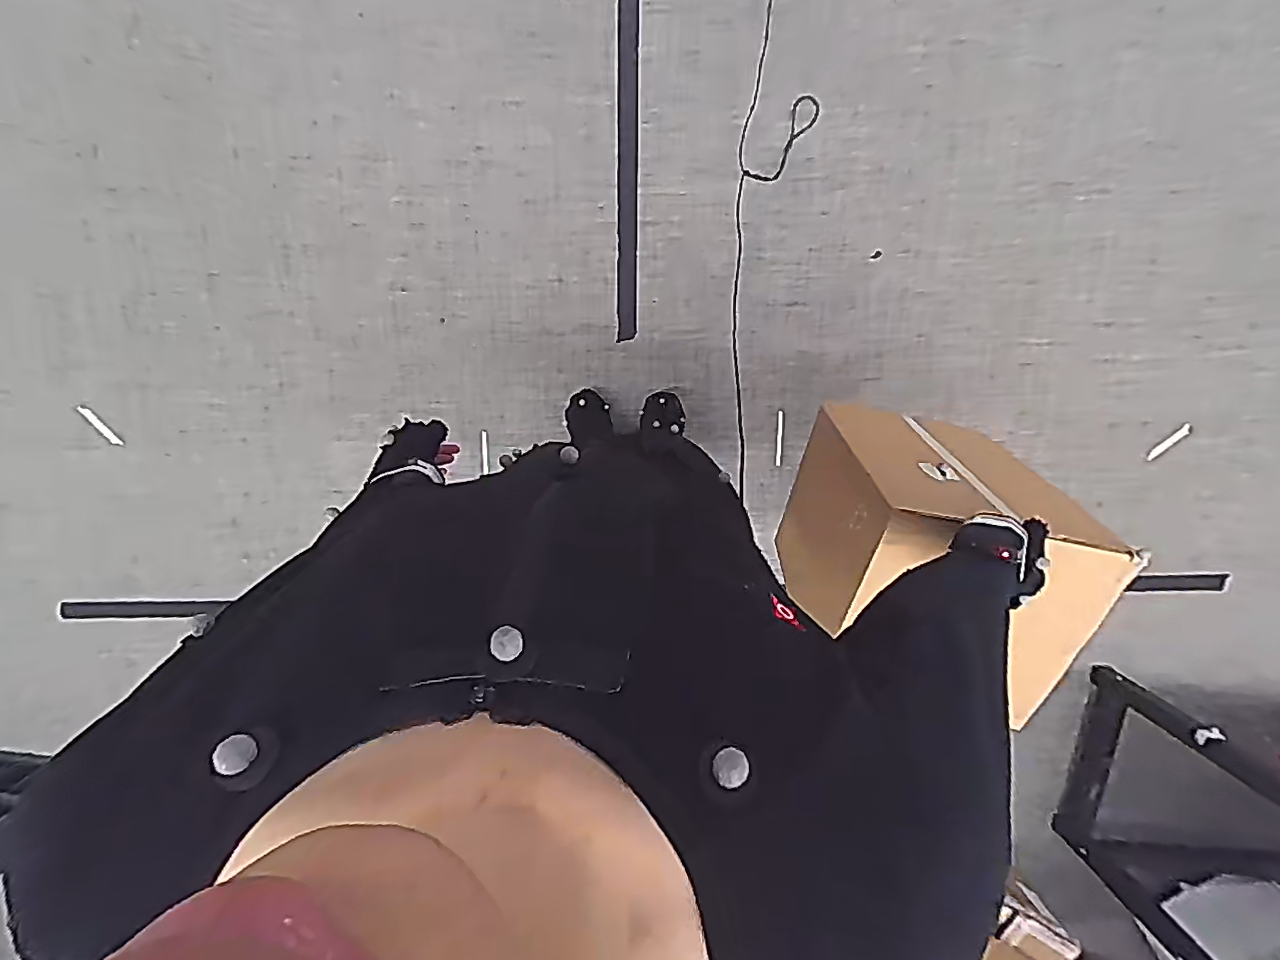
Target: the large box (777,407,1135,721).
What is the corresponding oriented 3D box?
[{"bbox_3d":[0.449,0.114,0.907,0.320,0.408,0.320,11,118,-1],"label":"large box"}]
